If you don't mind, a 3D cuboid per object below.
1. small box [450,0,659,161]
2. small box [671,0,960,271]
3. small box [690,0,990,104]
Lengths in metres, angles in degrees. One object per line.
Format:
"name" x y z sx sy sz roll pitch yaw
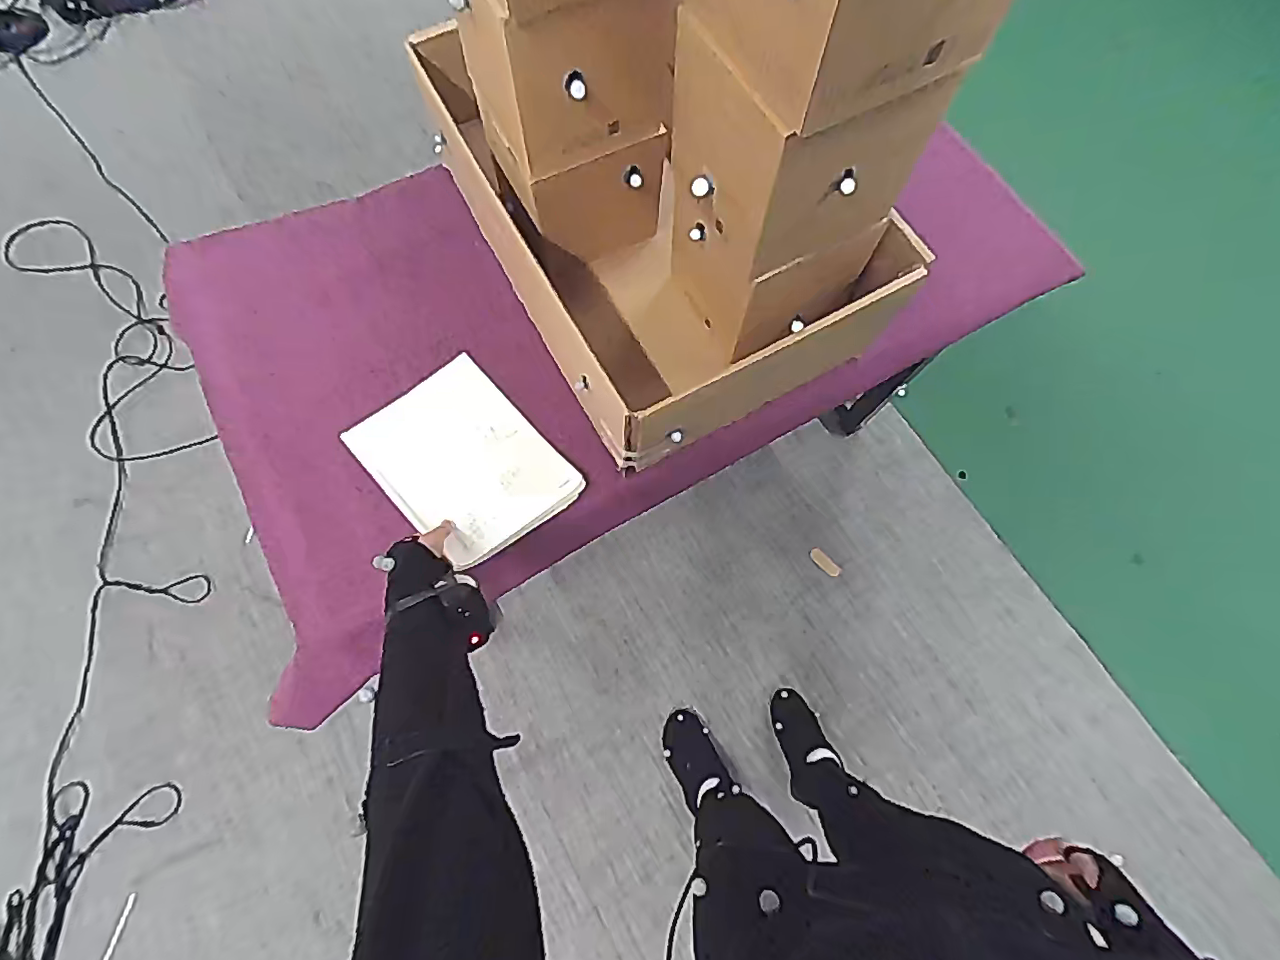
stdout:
"small box" -0.087 -0.464 0.552 0.168 0.176 0.179 -27 77 -9
"small box" 0.141 -0.338 0.509 0.179 0.176 0.168 -27 73 -7
"small box" 0.143 -0.388 0.354 0.168 0.176 0.179 -26 73 -8
